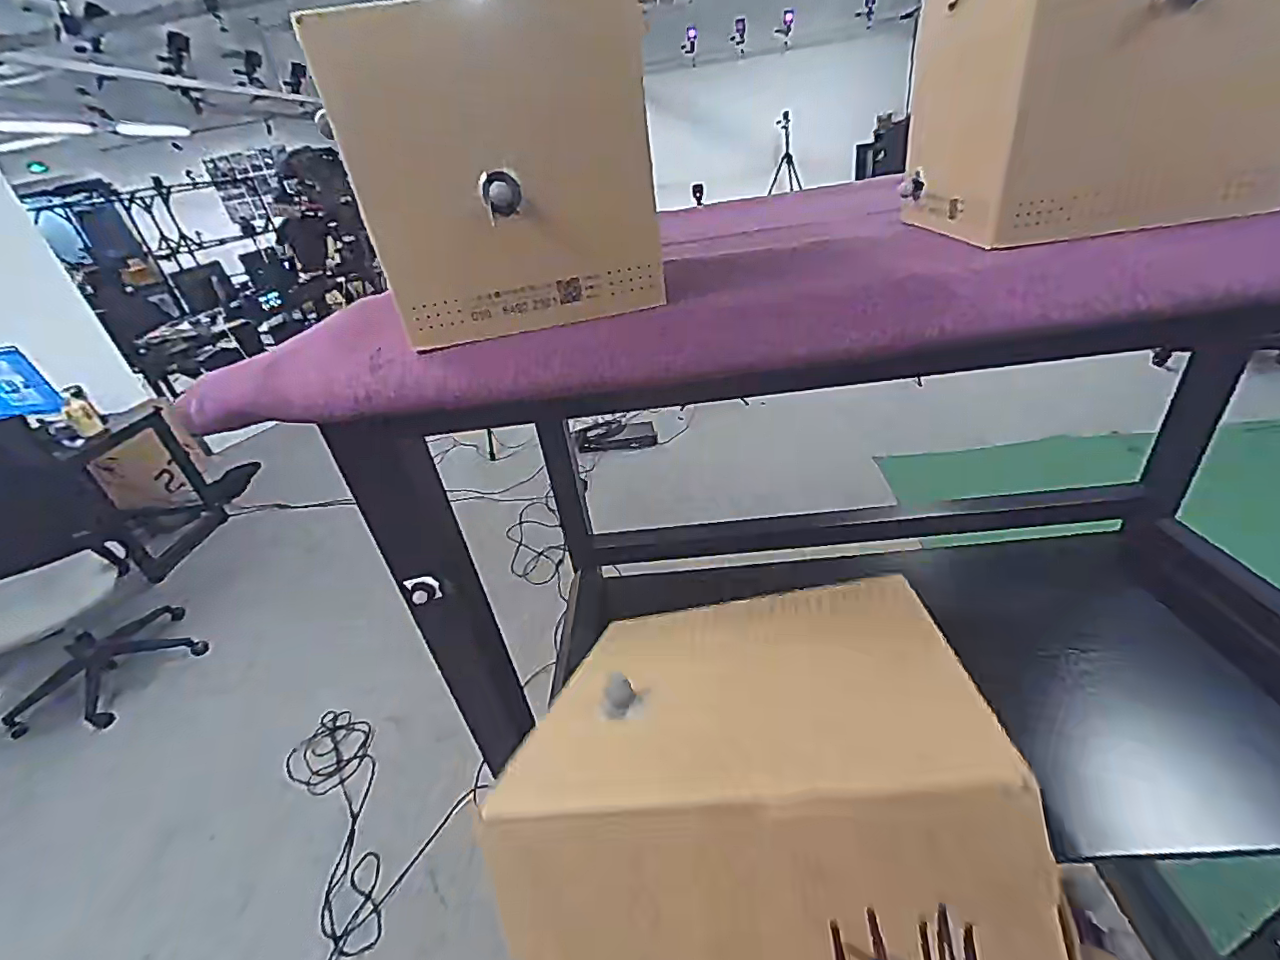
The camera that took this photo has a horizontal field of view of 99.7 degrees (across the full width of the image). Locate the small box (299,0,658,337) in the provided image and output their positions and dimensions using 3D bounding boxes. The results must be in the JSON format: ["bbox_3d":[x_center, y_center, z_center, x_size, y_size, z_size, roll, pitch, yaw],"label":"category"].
[{"bbox_3d":[-0.088,-0.206,0.374,0.168,0.176,0.179,-11,32,-6],"label":"small box"}]

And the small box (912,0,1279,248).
[{"bbox_3d":[0.305,-0.267,0.371,0.179,0.176,0.168,-5,32,6],"label":"small box"}]
